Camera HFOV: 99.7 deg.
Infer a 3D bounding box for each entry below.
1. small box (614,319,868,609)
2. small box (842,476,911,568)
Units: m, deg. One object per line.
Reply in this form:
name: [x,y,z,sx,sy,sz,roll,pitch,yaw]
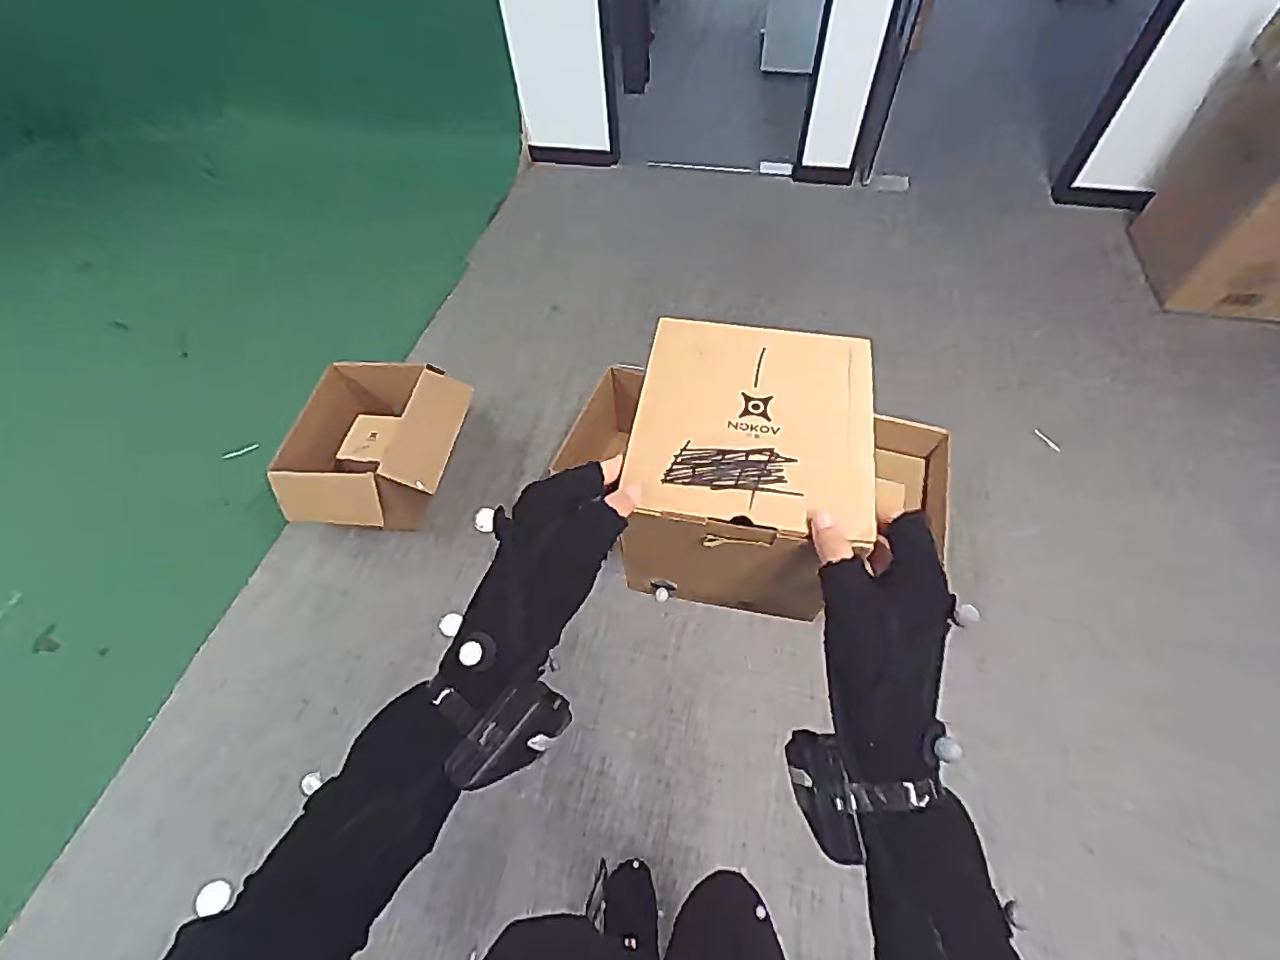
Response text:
small box: [0.083,-0.006,0.455,0.168,0.176,0.179,8,59,8]
small box: [0.618,0.110,1.474,0.168,0.176,0.179,14,57,12]
